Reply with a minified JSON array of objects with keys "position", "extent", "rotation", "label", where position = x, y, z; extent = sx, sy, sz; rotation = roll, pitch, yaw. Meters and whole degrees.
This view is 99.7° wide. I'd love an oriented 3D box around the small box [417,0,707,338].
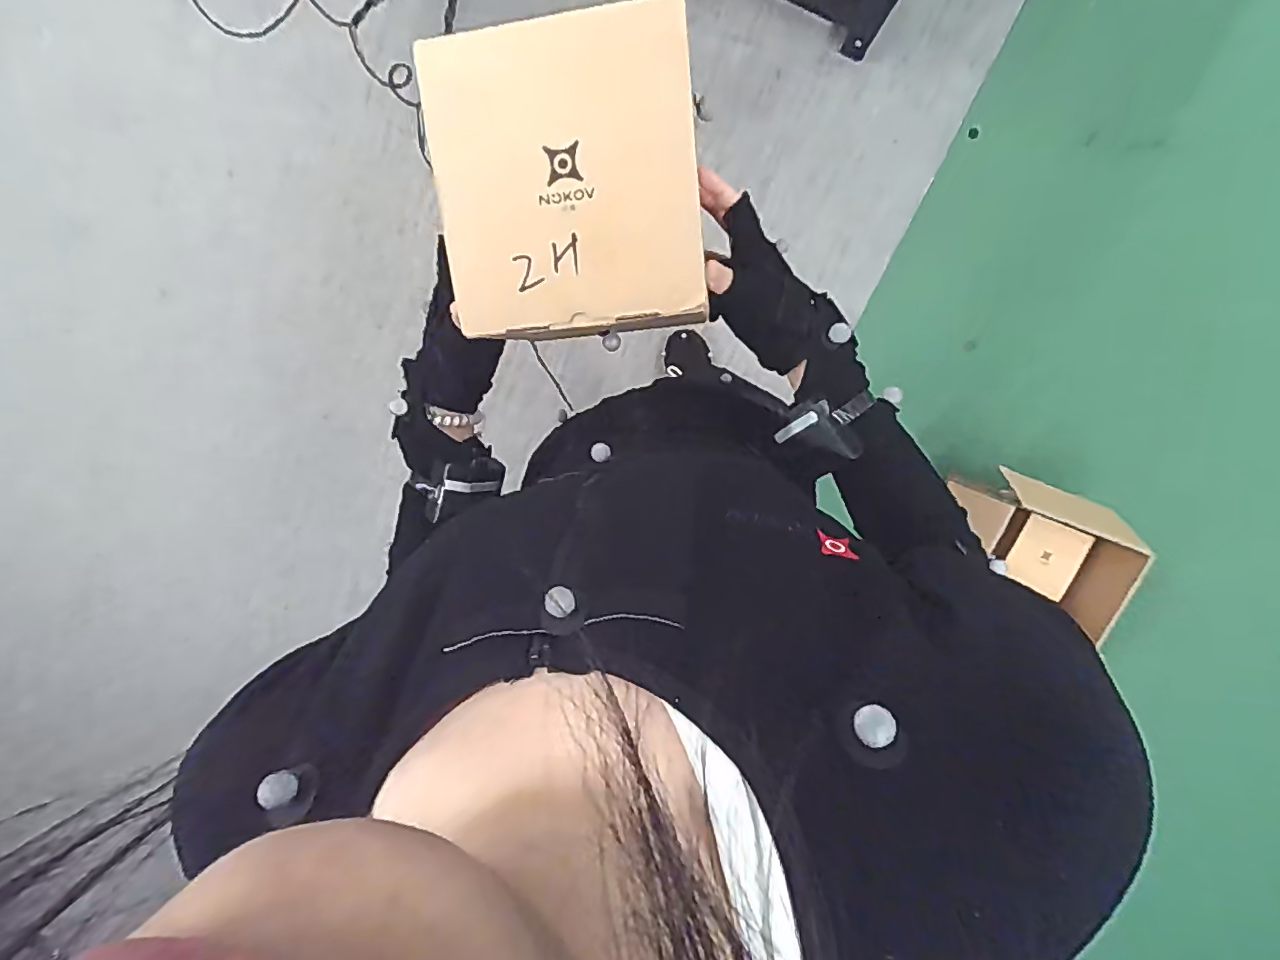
[{"position":[-0.038,-0.206,0.408],"extent":[0.168,0.176,0.179],"rotation":[-4,103,8],"label":"small box"}]
